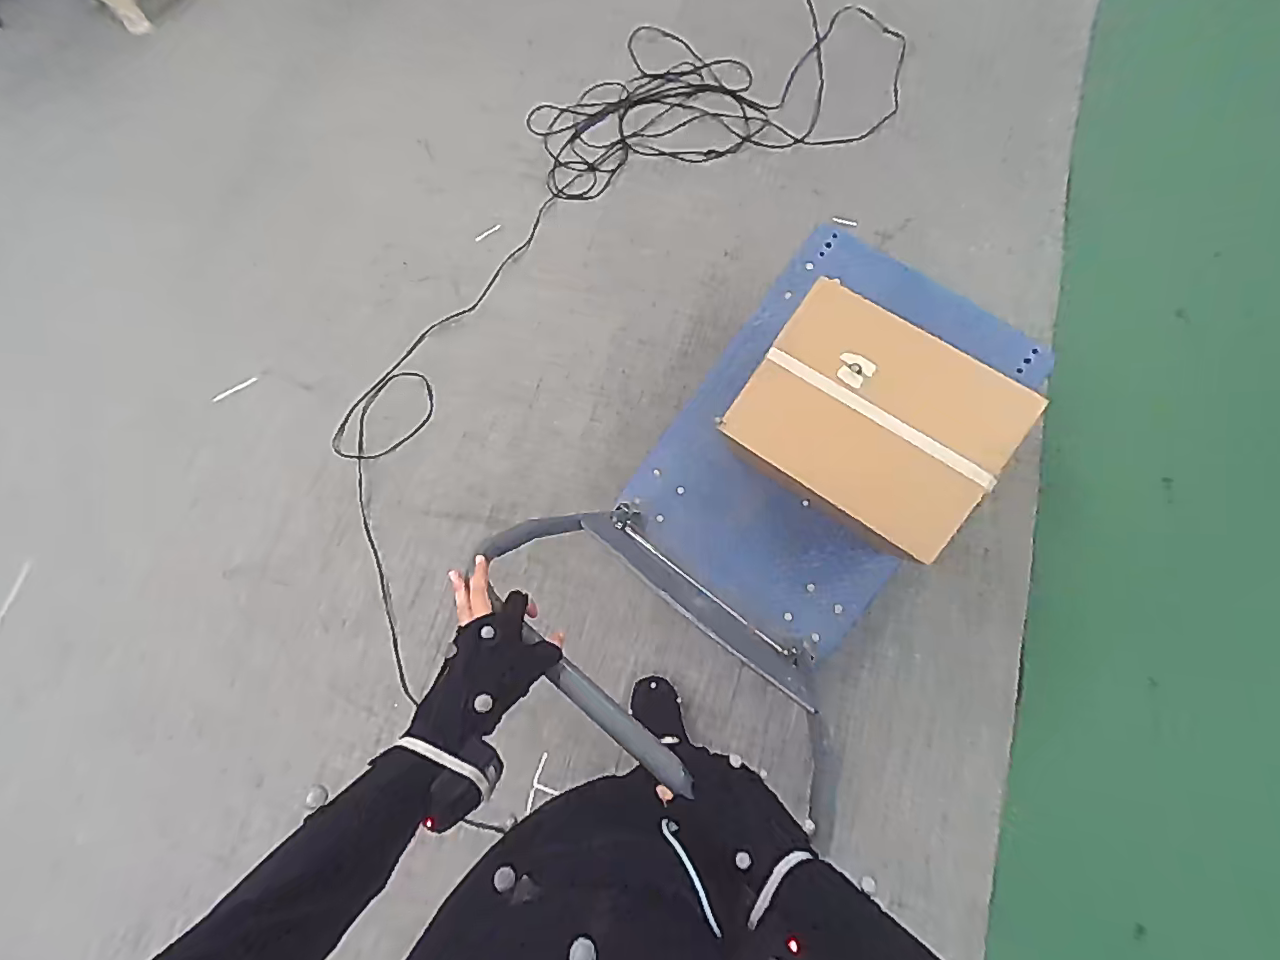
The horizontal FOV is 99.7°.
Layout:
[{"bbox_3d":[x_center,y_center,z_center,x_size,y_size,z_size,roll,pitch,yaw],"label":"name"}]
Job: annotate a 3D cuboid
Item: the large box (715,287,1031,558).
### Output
[{"bbox_3d":[0.409,-0.095,1.042,0.408,0.320,0.320,34,94,13],"label":"large box"}]
